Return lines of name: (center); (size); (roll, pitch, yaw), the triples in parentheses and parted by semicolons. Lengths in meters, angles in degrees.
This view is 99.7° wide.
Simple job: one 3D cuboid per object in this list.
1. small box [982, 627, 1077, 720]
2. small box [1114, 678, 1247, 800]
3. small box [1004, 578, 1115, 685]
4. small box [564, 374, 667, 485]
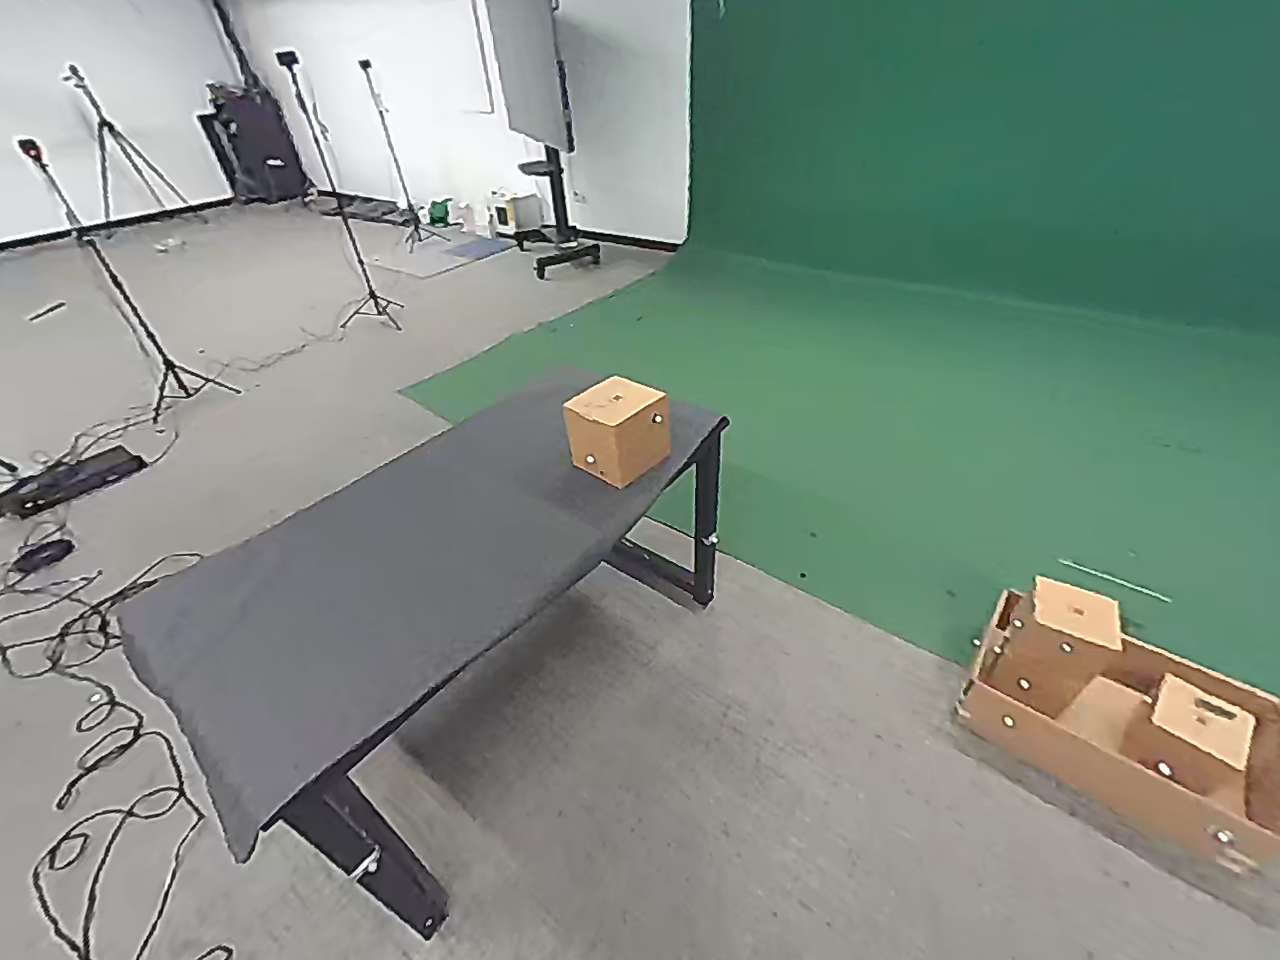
small box: (1.072, 0.519, 1.481); (0.179, 0.176, 0.168); (26, 48, 32)
small box: (1.314, 0.633, 1.324); (0.179, 0.176, 0.168); (-34, 47, -30)
small box: (1.061, 0.390, 1.379); (0.179, 0.176, 0.168); (20, 46, 23)
small box: (-0.052, -0.118, 1.254); (0.168, 0.176, 0.179); (27, 48, 35)
